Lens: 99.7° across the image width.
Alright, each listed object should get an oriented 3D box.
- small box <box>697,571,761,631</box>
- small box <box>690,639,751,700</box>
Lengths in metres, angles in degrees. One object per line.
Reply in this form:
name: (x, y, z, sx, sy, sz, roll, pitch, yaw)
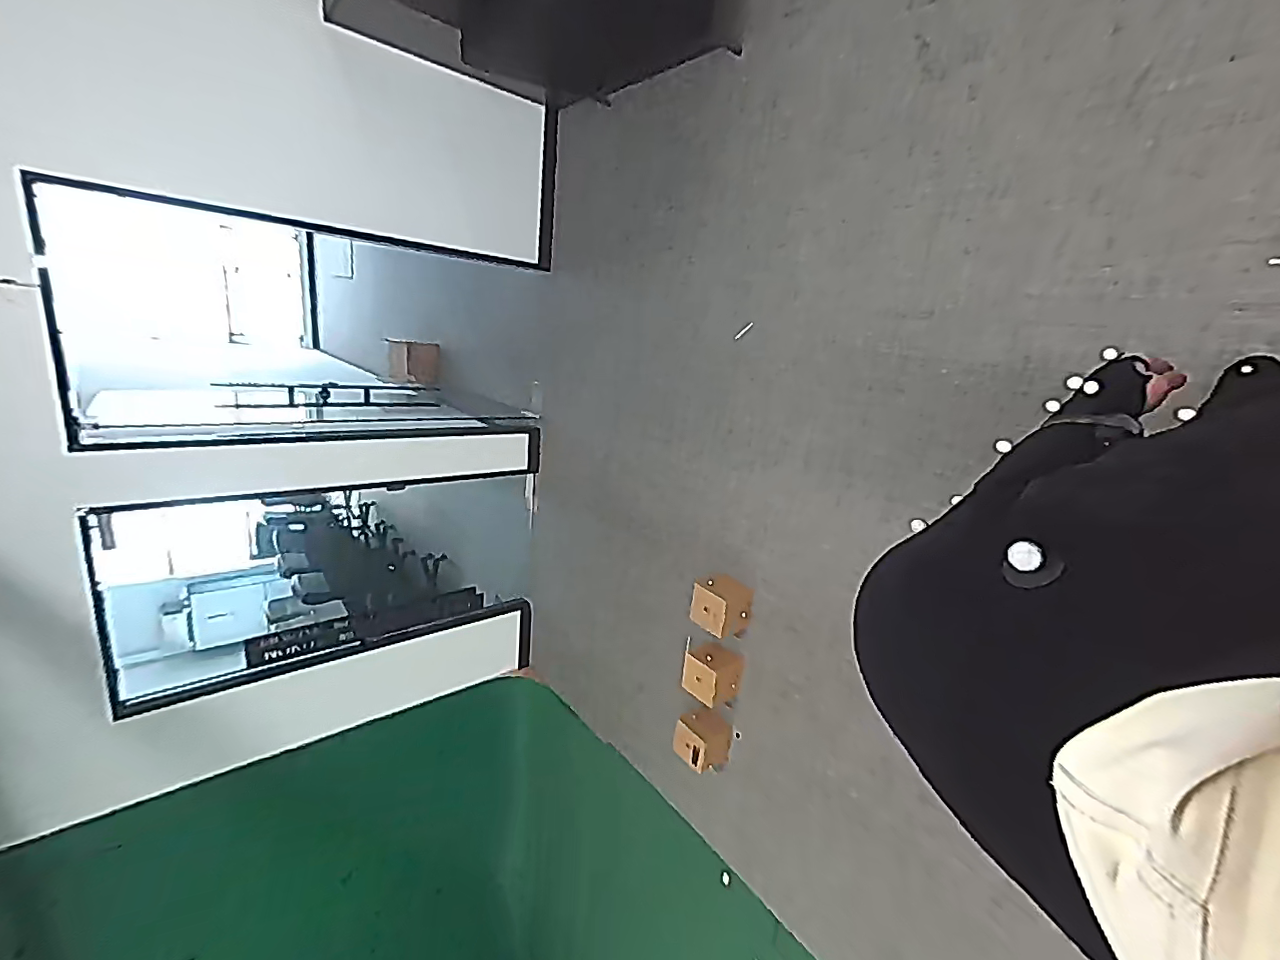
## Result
small box: (0.363, 0.485, 2.197, 0.179, 0.176, 0.168, 25, 115, 46)
small box: (0.337, 0.788, 2.276, 0.179, 0.176, 0.168, 21, 111, 47)
